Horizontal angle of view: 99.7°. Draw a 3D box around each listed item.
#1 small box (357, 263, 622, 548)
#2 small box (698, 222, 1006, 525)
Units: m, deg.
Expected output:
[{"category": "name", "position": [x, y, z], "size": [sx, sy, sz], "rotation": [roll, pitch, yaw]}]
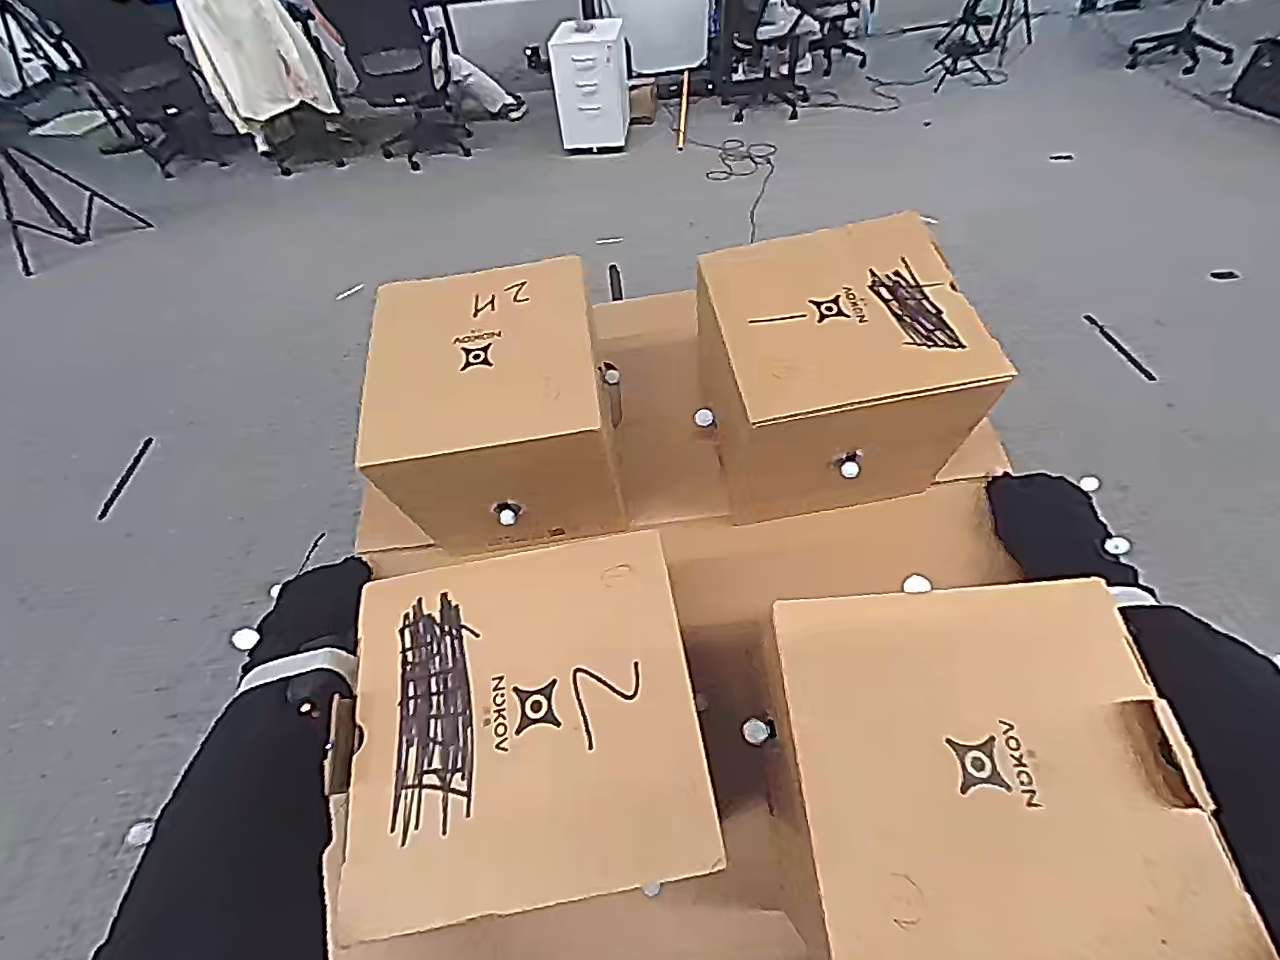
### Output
[{"category": "small box", "position": [-0.111, -0.051, 0.467], "size": [0.168, 0.176, 0.179], "rotation": [-8, 60, 1]}, {"category": "small box", "position": [0.148, -0.078, 0.454], "size": [0.179, 0.176, 0.168], "rotation": [-11, 61, 2]}]
